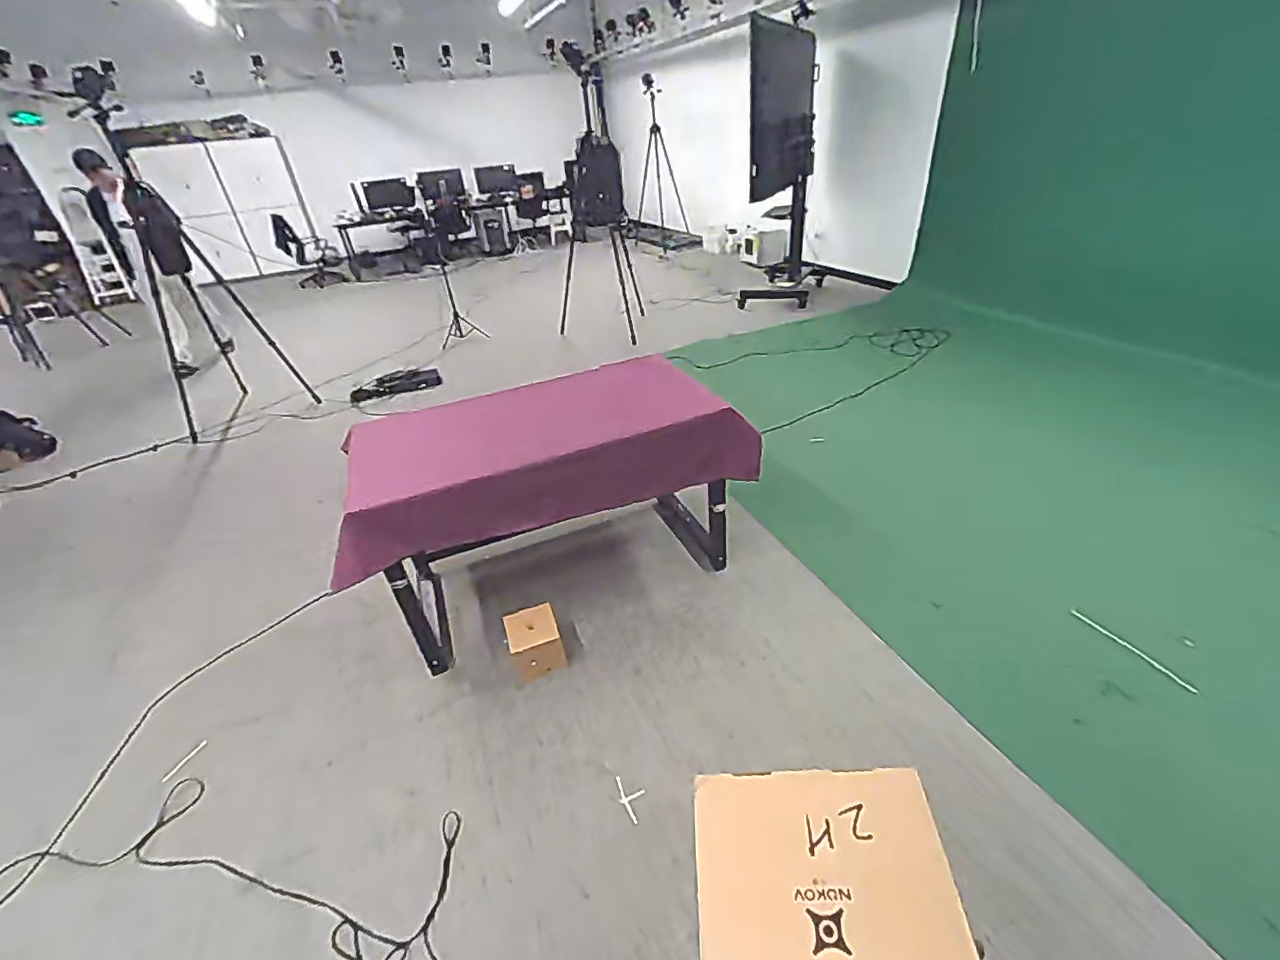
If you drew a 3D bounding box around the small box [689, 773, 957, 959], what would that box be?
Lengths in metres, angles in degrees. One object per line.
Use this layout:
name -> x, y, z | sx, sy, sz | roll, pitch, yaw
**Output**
small box -> 0.129, 0.345, 0.407 | 0.168, 0.176, 0.179 | -6, 41, 9
